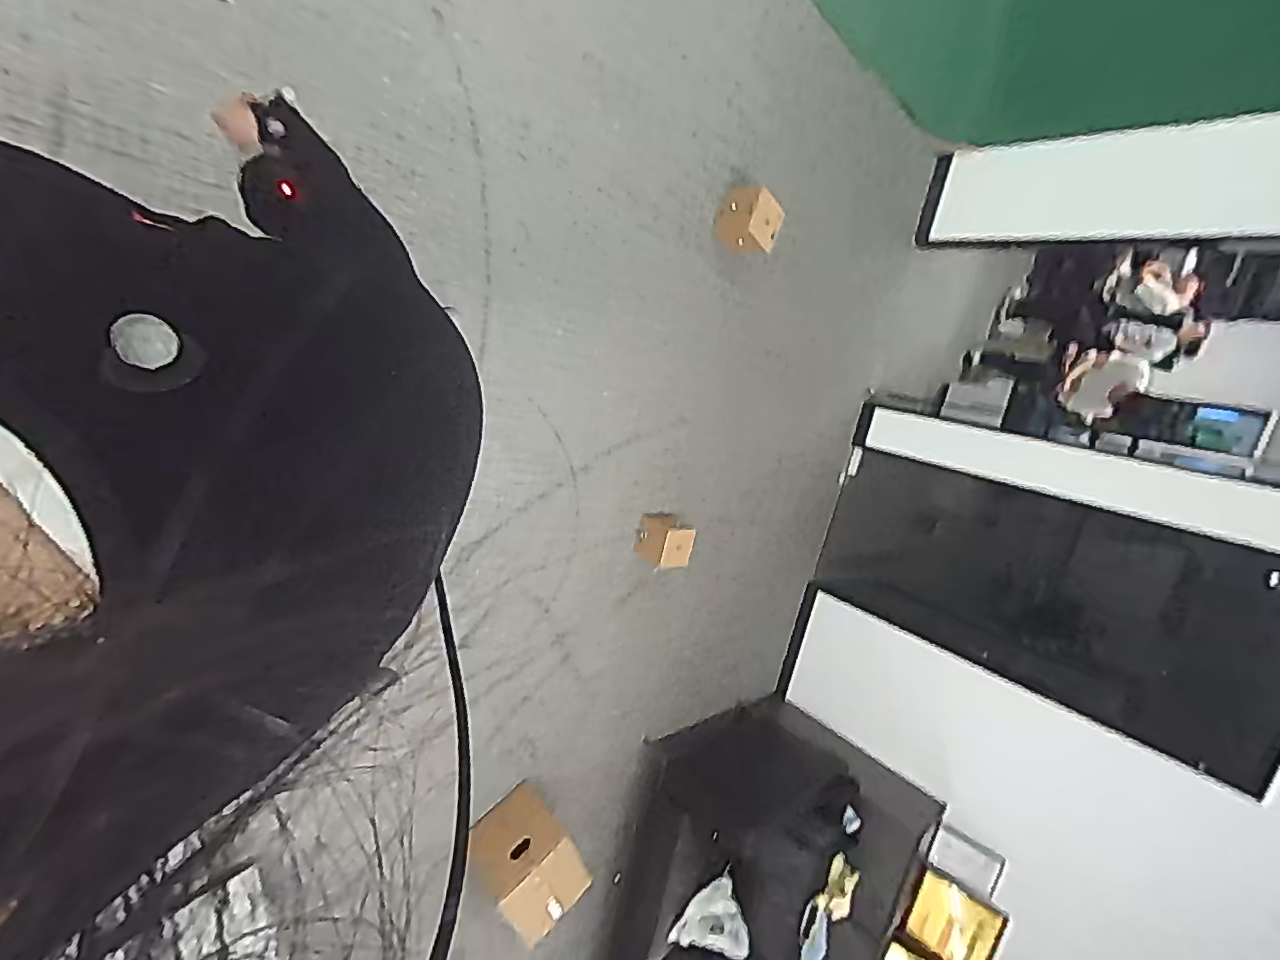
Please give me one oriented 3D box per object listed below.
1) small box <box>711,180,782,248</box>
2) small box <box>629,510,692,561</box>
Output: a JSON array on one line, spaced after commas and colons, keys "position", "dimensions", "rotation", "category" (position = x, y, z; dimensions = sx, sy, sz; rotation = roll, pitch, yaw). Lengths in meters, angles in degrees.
[{"position": [0.395, -0.990, 2.028], "dimensions": [0.179, 0.176, 0.168], "rotation": [20, 93, -47], "category": "small box"}, {"position": [0.085, 0.229, 2.281], "dimensions": [0.179, 0.176, 0.168], "rotation": [3, 104, -44], "category": "small box"}]
